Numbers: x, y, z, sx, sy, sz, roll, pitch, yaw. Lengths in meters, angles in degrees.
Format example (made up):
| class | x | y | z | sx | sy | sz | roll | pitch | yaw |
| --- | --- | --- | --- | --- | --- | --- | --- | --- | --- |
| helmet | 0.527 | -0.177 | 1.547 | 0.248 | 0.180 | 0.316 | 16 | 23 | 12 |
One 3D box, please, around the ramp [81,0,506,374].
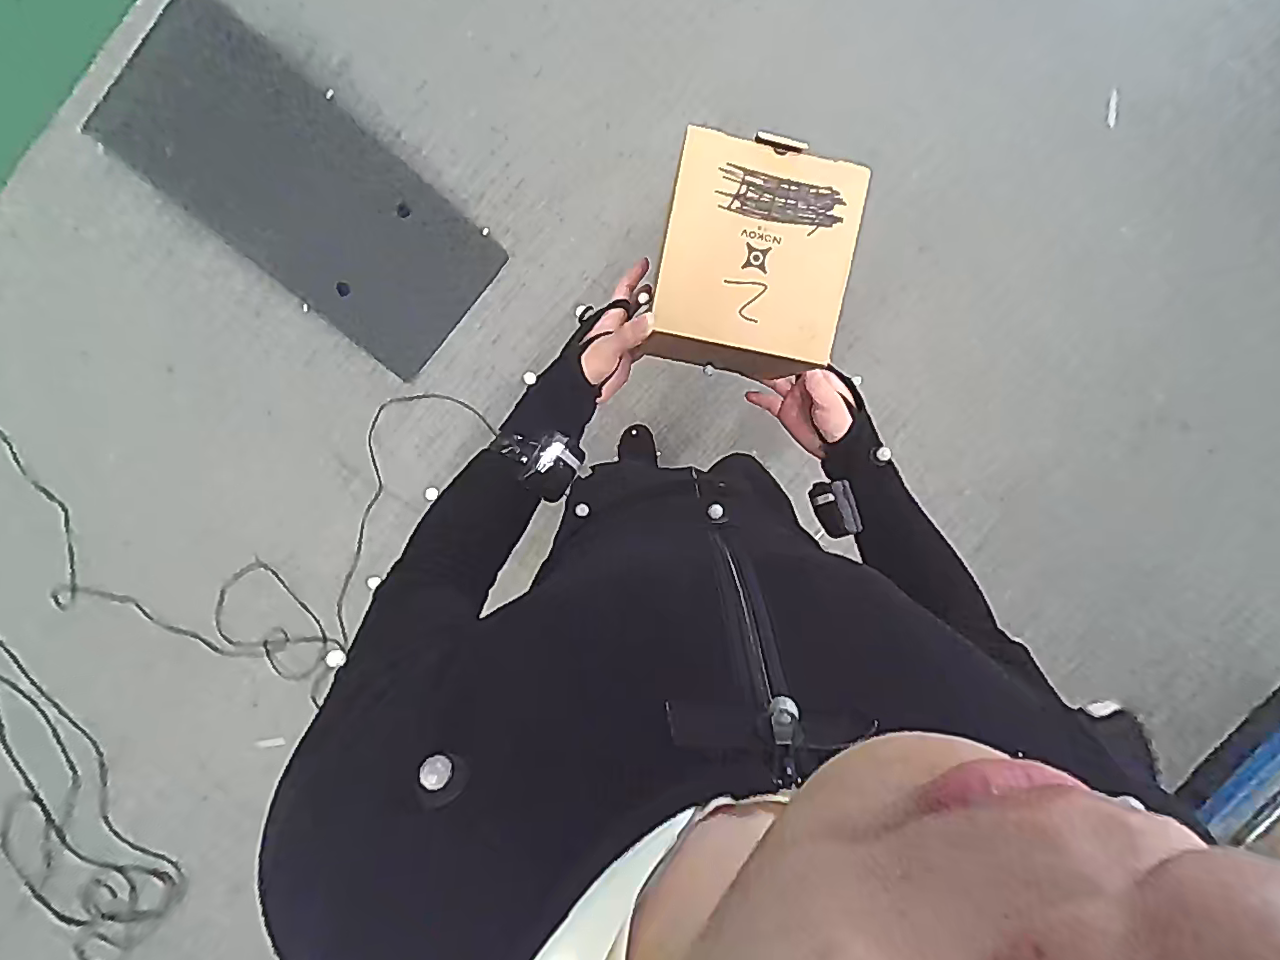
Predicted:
| class | x | y | z | sx | sy | sz | roll | pitch | yaw |
| --- | --- | --- | --- | --- | --- | --- | --- | --- | --- |
| ramp | -0.907 | -0.803 | 1.484 | 0.991 | 0.206 | 0.509 | 39 | 94 | -3 |
